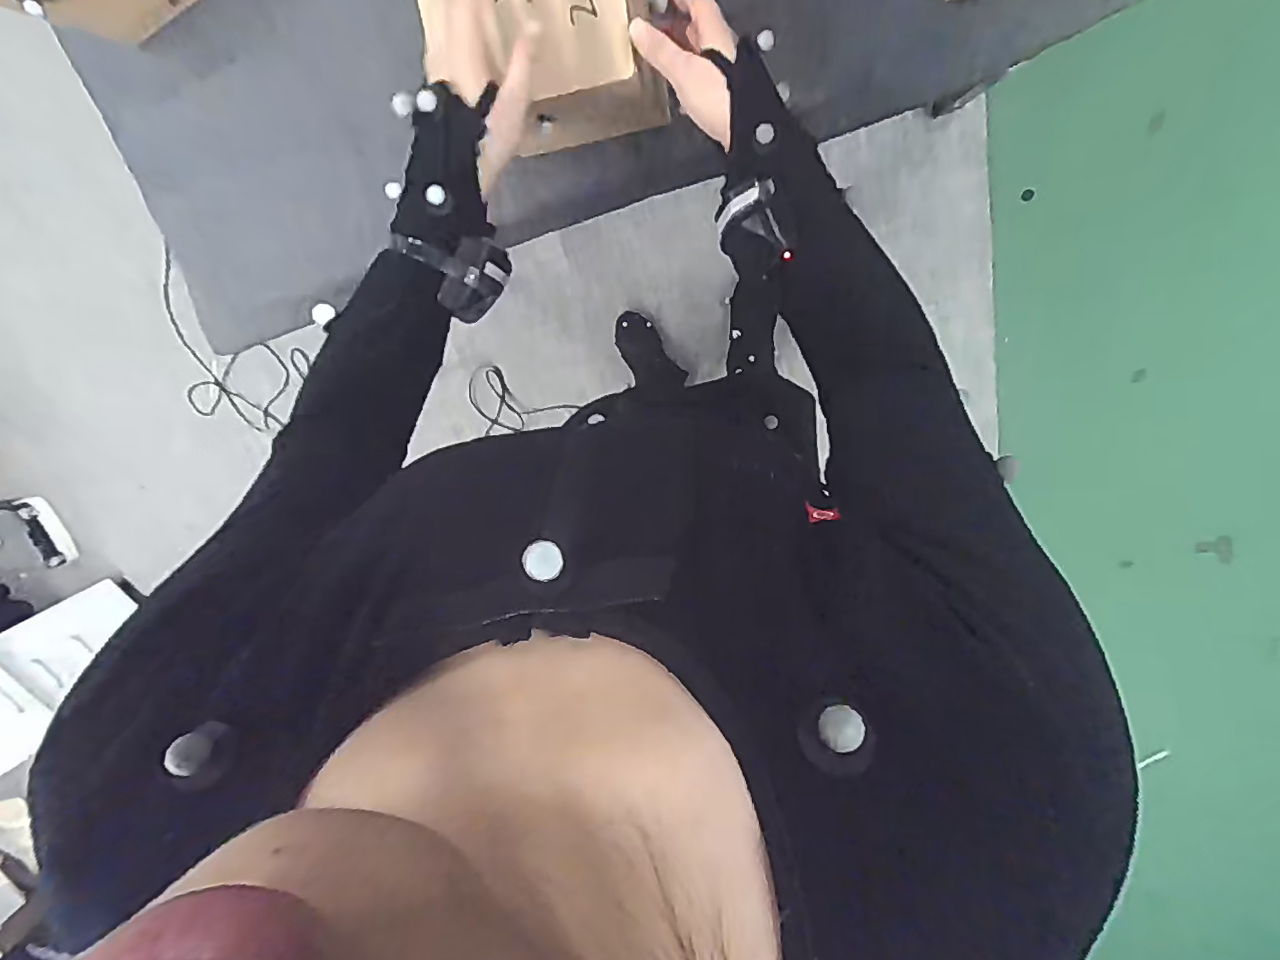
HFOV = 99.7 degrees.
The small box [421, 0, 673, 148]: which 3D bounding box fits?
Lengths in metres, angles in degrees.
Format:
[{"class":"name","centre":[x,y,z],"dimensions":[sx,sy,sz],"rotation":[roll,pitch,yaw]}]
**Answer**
[{"class":"small box","centre":[-0.077,-0.420,0.491],"dimensions":[0.179,0.176,0.168],"rotation":[-3,113,15]}]
